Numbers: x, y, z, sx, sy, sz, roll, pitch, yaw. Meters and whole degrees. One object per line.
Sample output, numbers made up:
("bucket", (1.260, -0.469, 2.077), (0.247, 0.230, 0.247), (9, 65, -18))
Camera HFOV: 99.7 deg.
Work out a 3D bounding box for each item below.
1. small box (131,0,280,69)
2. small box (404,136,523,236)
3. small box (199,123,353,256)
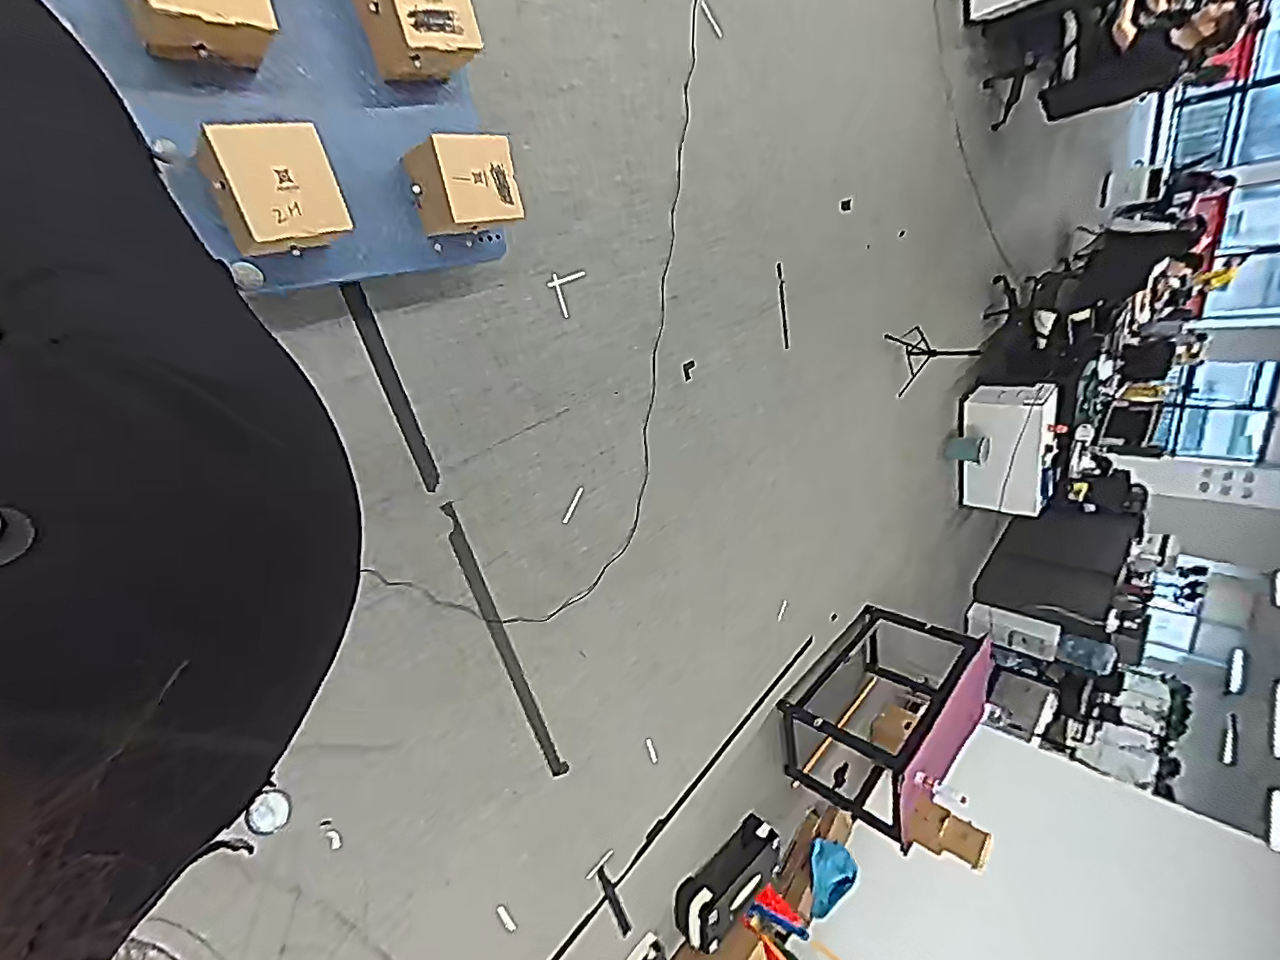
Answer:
("small box", (-0.716, -0.803, 0.866), (0.168, 0.176, 0.179), (-25, 116, -38))
("small box", (-0.394, -0.651, 1.209), (0.179, 0.176, 0.168), (-26, 116, -36))
("small box", (-0.661, -0.521, 0.980), (0.168, 0.176, 0.179), (-30, 118, -36))
